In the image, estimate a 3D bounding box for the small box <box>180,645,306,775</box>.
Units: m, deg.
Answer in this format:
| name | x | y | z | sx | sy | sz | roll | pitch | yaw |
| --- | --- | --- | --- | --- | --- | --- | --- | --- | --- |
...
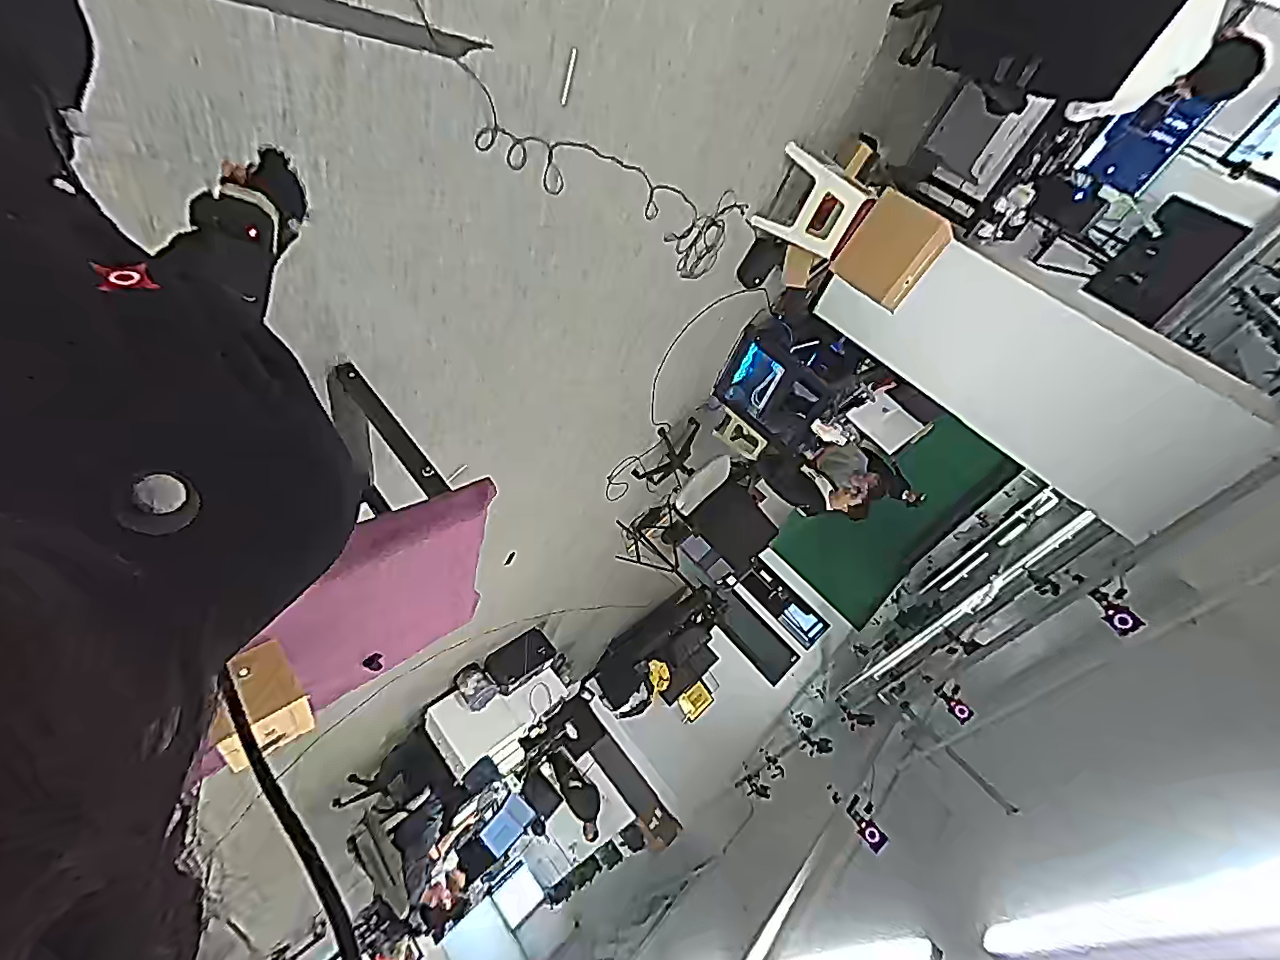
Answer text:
| name | x | y | z | sx | sy | sz | roll | pitch | yaw |
| --- | --- | --- | --- | --- | --- | --- | --- | --- | --- |
| small box | -0.860 | 0.495 | 1.181 | 0.168 | 0.176 | 0.179 | -27 | 152 | -40 |
